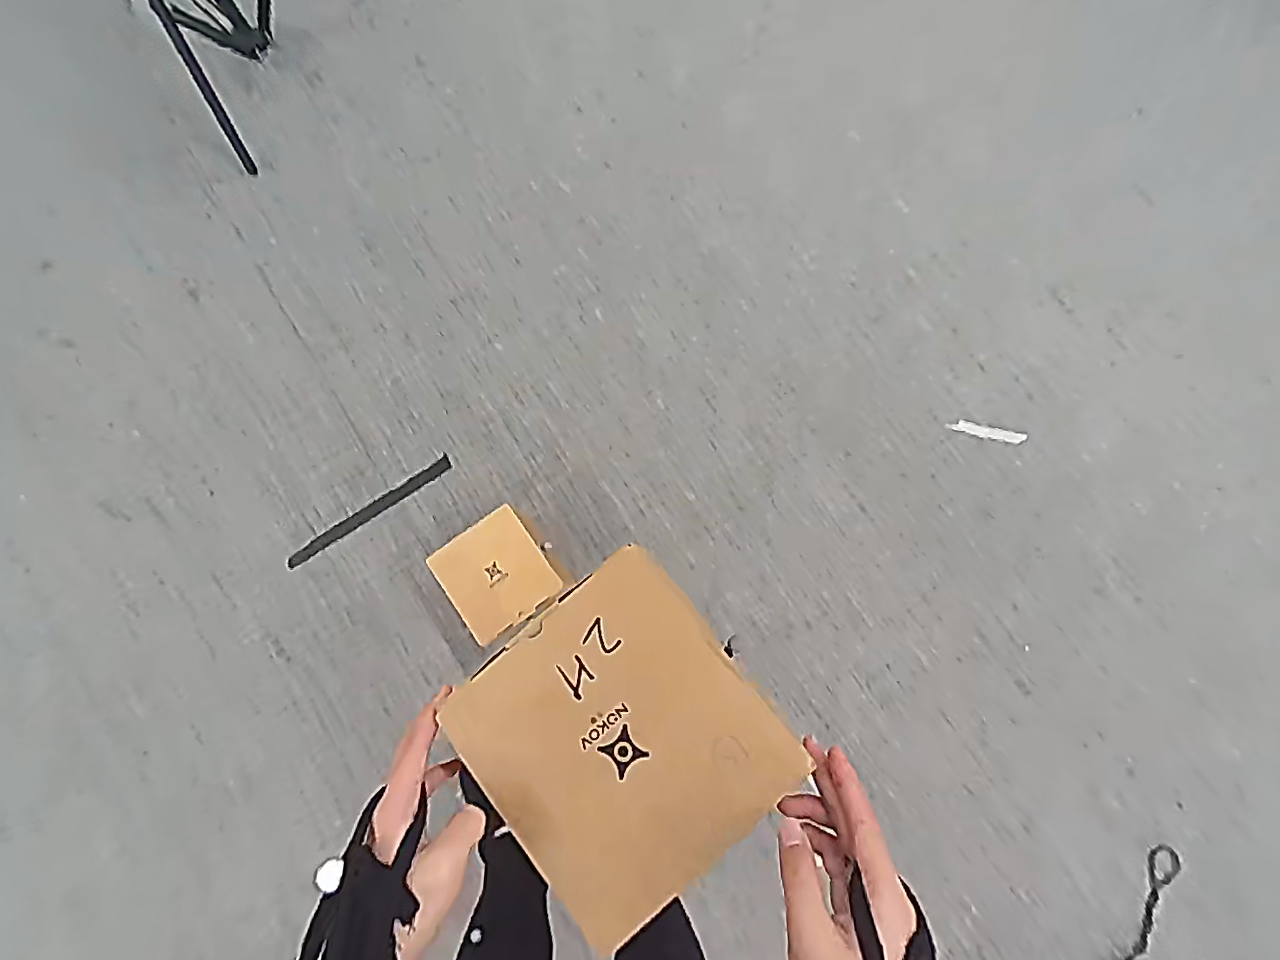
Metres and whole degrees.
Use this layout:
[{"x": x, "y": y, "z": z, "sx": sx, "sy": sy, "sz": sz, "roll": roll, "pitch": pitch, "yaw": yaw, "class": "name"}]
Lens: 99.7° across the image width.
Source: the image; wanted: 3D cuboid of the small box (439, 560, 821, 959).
[{"x": -0.002, "y": 0.177, "z": 0.401, "sx": 0.168, "sy": 0.176, "sz": 0.179, "roll": -41, "pitch": 78, "yaw": -3, "class": "small box"}]

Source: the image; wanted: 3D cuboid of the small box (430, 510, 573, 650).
[{"x": -0.237, "y": 0.179, "z": 0.968, "sx": 0.168, "sy": 0.176, "sz": 0.179, "roll": -36, "pitch": 82, "yaw": -7, "class": "small box"}]
